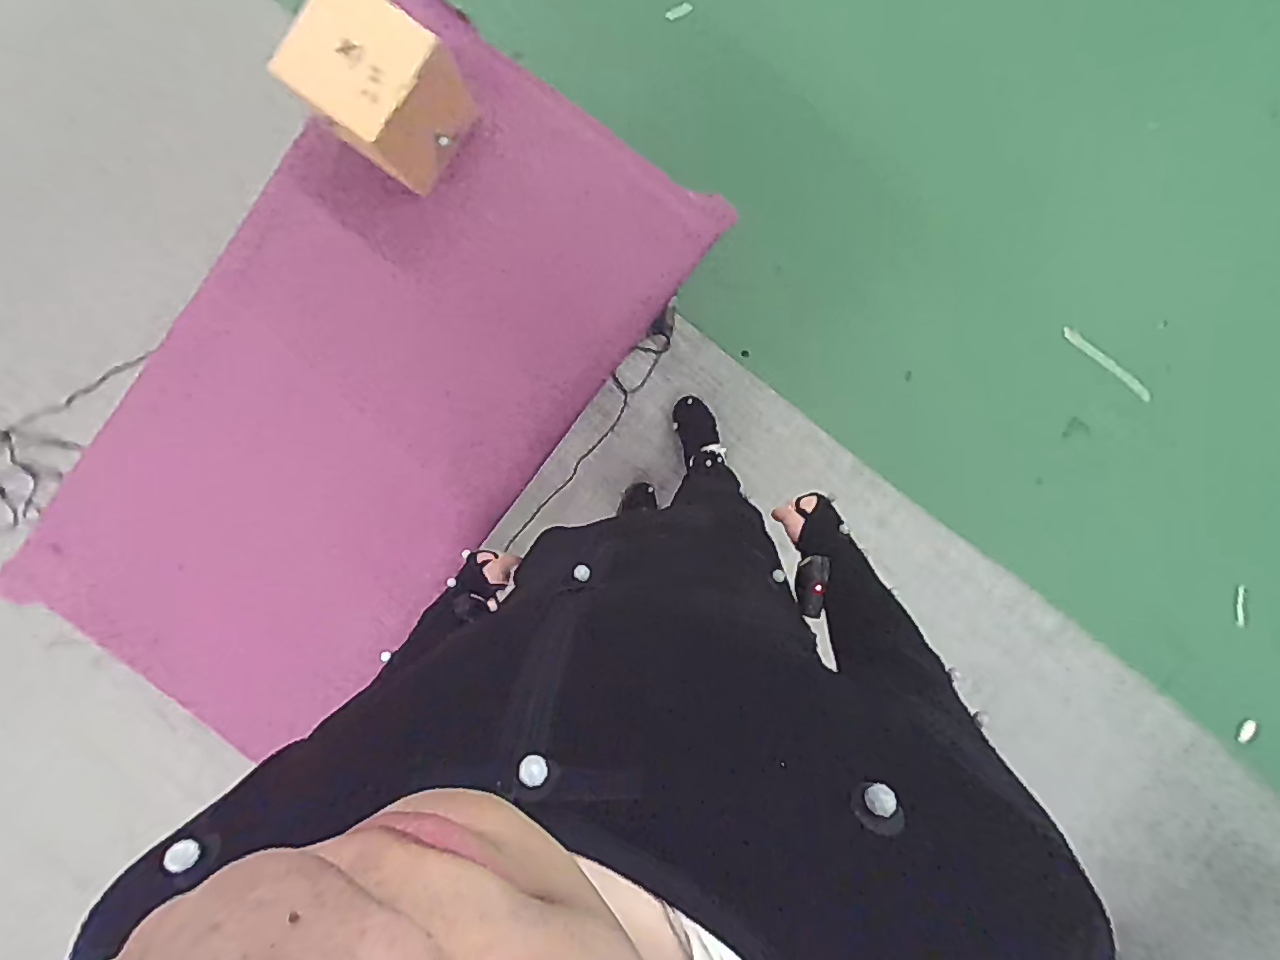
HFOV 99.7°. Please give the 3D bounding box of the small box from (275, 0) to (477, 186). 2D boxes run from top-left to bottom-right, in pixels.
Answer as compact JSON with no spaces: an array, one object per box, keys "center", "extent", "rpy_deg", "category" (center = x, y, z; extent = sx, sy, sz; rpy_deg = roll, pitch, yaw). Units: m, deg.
[{"center":[-0.381,-0.584,0.811],"extent":[0.179,0.176,0.168],"rpy_deg":[36,97,0],"category":"small box"}]
